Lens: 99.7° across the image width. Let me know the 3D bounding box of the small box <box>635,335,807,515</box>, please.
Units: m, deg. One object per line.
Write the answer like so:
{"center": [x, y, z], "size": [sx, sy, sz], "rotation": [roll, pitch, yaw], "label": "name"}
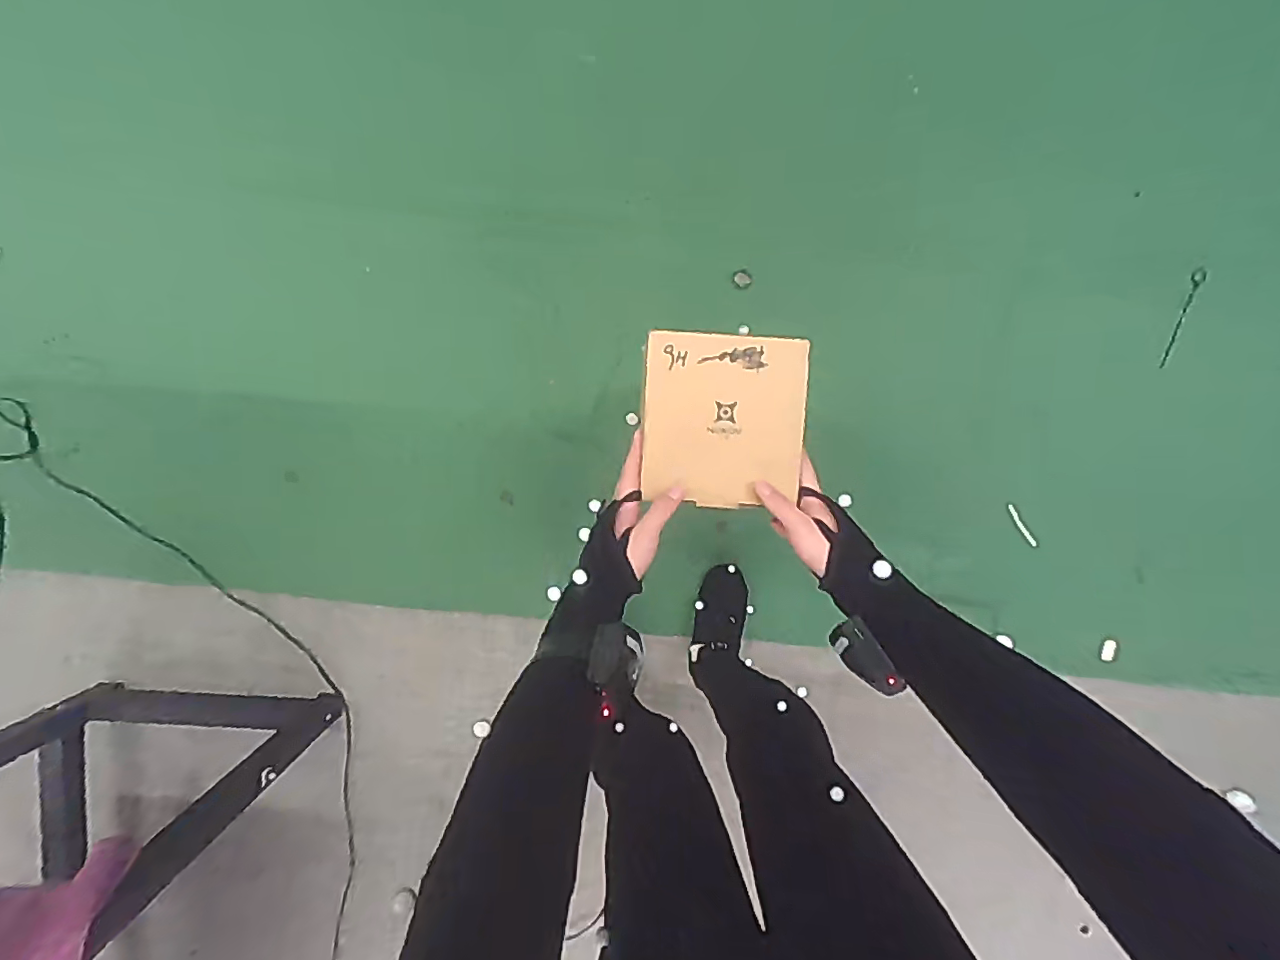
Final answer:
{"center": [0.081, -0.062, 0.629], "size": [0.168, 0.176, 0.179], "rotation": [3, 95, -1], "label": "small box"}
